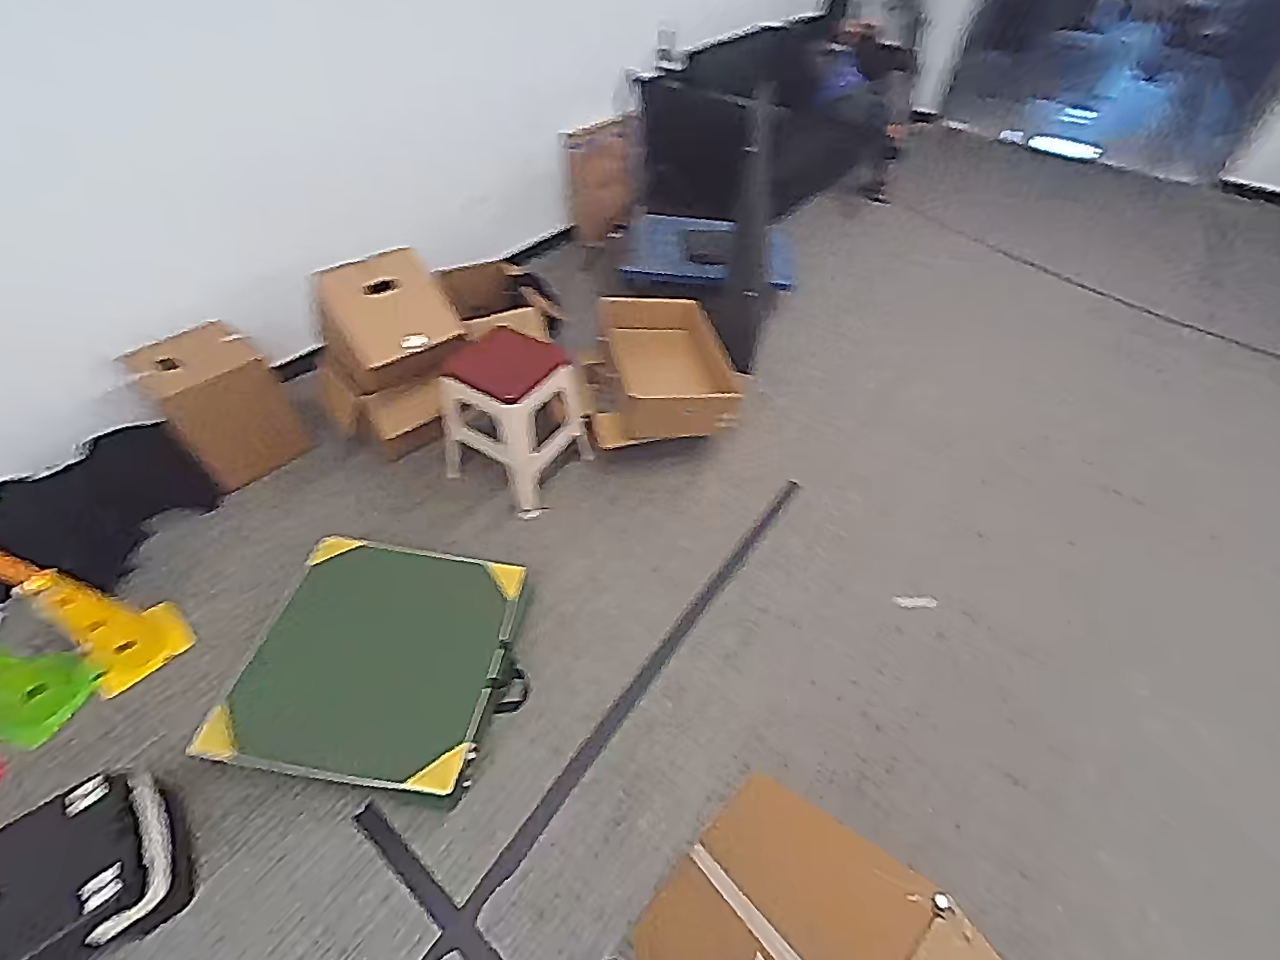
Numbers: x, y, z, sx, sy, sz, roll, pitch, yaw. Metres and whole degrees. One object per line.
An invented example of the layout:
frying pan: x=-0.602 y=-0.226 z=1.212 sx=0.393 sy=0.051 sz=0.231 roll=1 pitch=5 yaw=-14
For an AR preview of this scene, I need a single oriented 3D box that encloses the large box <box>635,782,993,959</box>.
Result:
large box: x=0.250 y=0.680 z=0.686 sx=0.320 sy=0.408 sz=0.320 roll=-43 pitch=94 yaw=-19
